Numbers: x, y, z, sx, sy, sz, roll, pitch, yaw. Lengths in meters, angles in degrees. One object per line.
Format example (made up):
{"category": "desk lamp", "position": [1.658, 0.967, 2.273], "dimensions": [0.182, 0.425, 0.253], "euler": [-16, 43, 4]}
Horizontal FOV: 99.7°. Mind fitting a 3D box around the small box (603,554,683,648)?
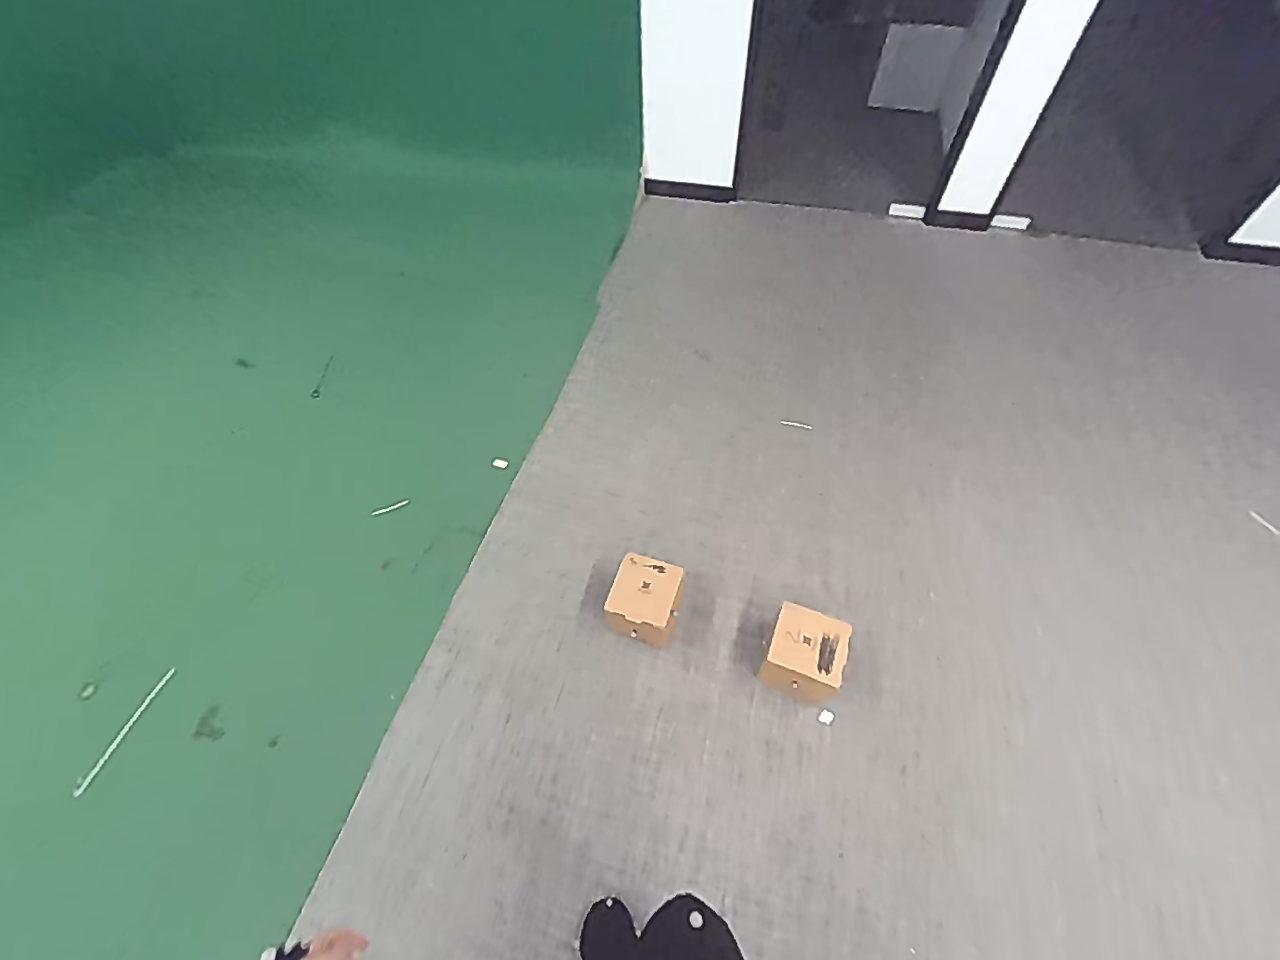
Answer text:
{"category": "small box", "position": [0.014, 0.333, 1.465], "dimensions": [0.168, 0.176, 0.179], "euler": [16, 58, 12]}
